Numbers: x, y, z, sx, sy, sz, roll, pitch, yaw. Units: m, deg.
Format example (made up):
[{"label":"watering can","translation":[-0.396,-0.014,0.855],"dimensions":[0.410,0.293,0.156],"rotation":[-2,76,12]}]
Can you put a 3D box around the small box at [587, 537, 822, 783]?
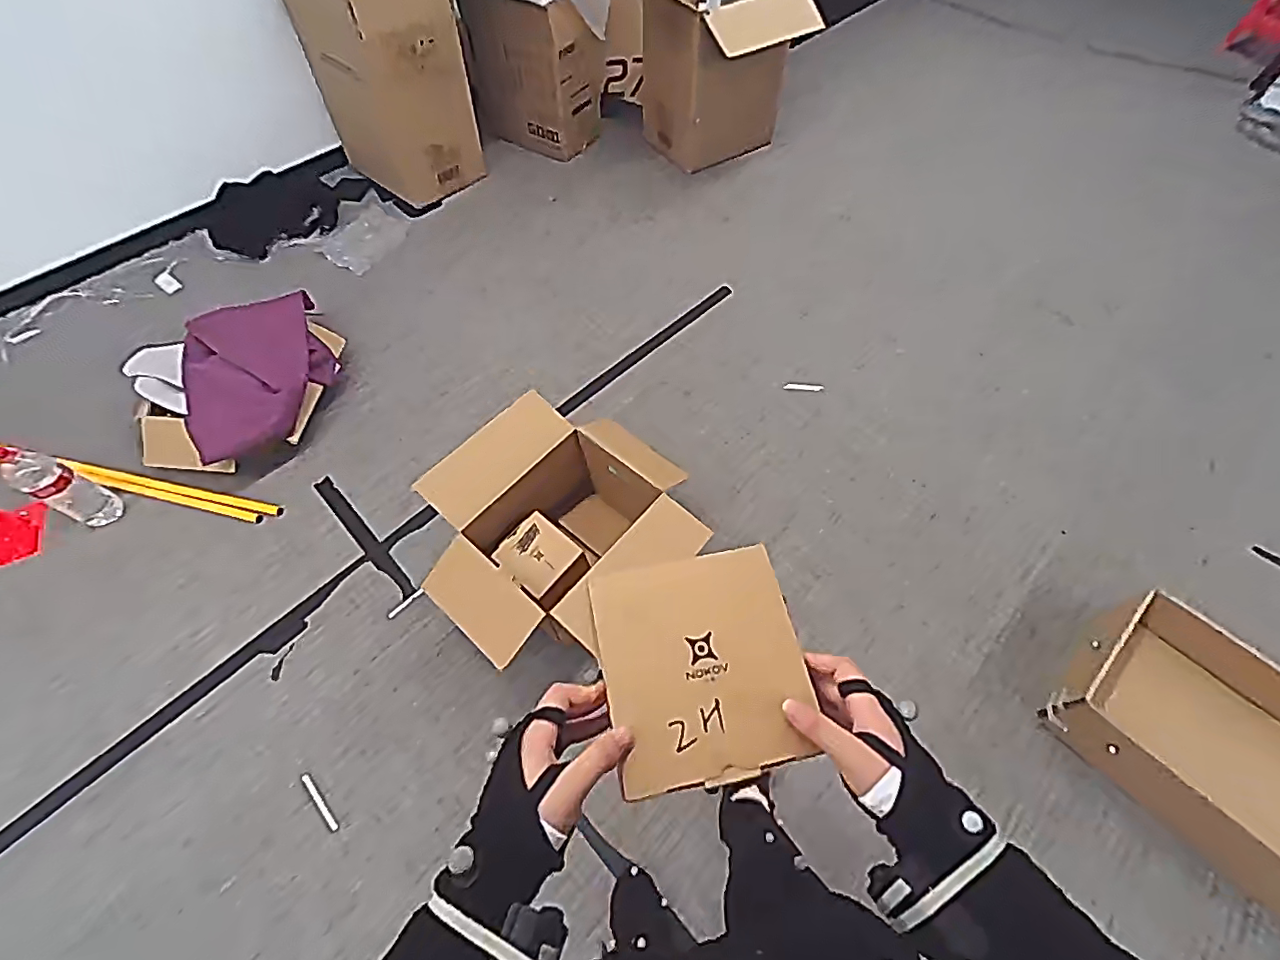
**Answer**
[{"label":"small box","translation":[0.042,0.176,0.520],"dimensions":[0.168,0.176,0.179],"rotation":[-10,64,-8]}]
